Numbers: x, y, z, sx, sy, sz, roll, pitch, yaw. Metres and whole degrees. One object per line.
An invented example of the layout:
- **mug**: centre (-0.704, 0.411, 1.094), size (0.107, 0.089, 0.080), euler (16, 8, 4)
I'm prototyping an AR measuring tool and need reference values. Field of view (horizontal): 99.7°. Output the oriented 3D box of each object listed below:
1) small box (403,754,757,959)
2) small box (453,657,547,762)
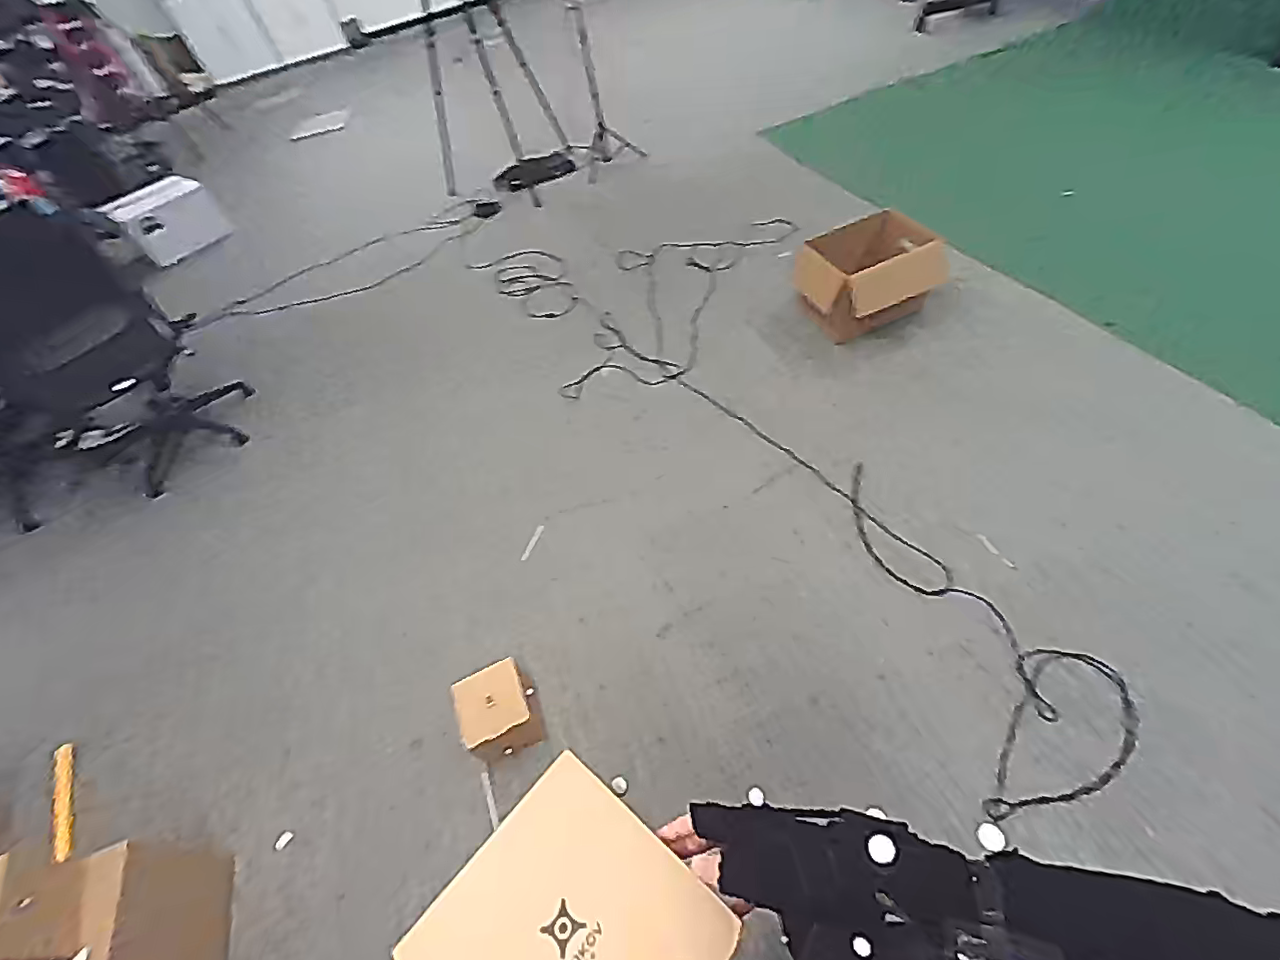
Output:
- **small box**: centre (-0.038, 0.356, 0.413), size (0.179, 0.176, 0.168), euler (34, 59, 26)
- **small box**: centre (-0.358, 0.595, 1.395), size (0.168, 0.176, 0.179), euler (-25, 52, -9)
